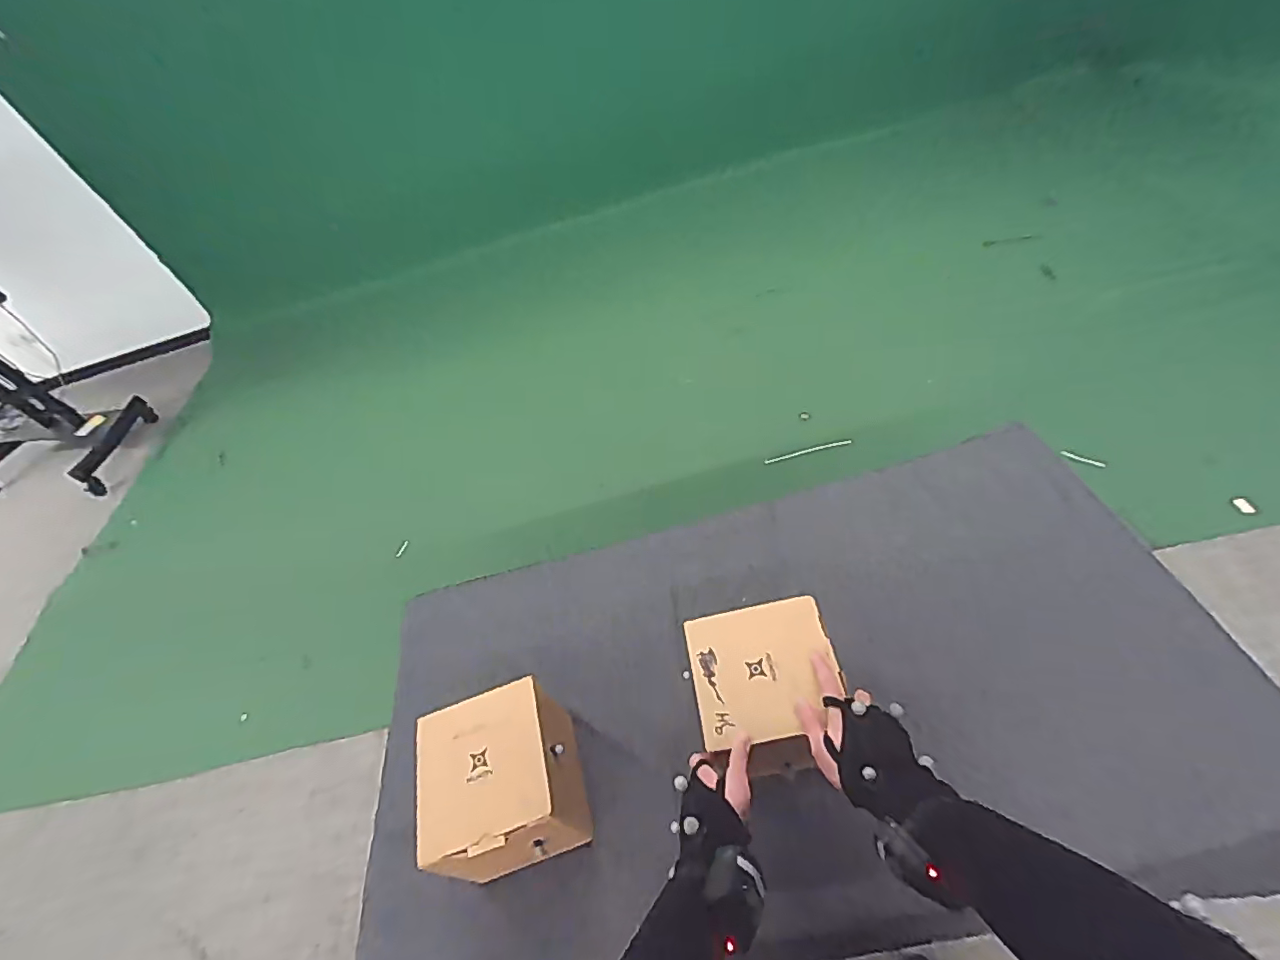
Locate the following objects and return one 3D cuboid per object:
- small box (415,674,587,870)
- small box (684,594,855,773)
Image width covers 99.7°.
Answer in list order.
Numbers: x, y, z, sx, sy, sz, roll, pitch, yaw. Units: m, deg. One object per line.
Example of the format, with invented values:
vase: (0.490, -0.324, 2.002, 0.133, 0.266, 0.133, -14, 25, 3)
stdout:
small box: (-0.183, 0.399, 0.731, 0.168, 0.176, 0.179, -20, 46, -2)
small box: (0.166, 0.277, 0.725, 0.179, 0.176, 0.168, -13, 50, 6)
